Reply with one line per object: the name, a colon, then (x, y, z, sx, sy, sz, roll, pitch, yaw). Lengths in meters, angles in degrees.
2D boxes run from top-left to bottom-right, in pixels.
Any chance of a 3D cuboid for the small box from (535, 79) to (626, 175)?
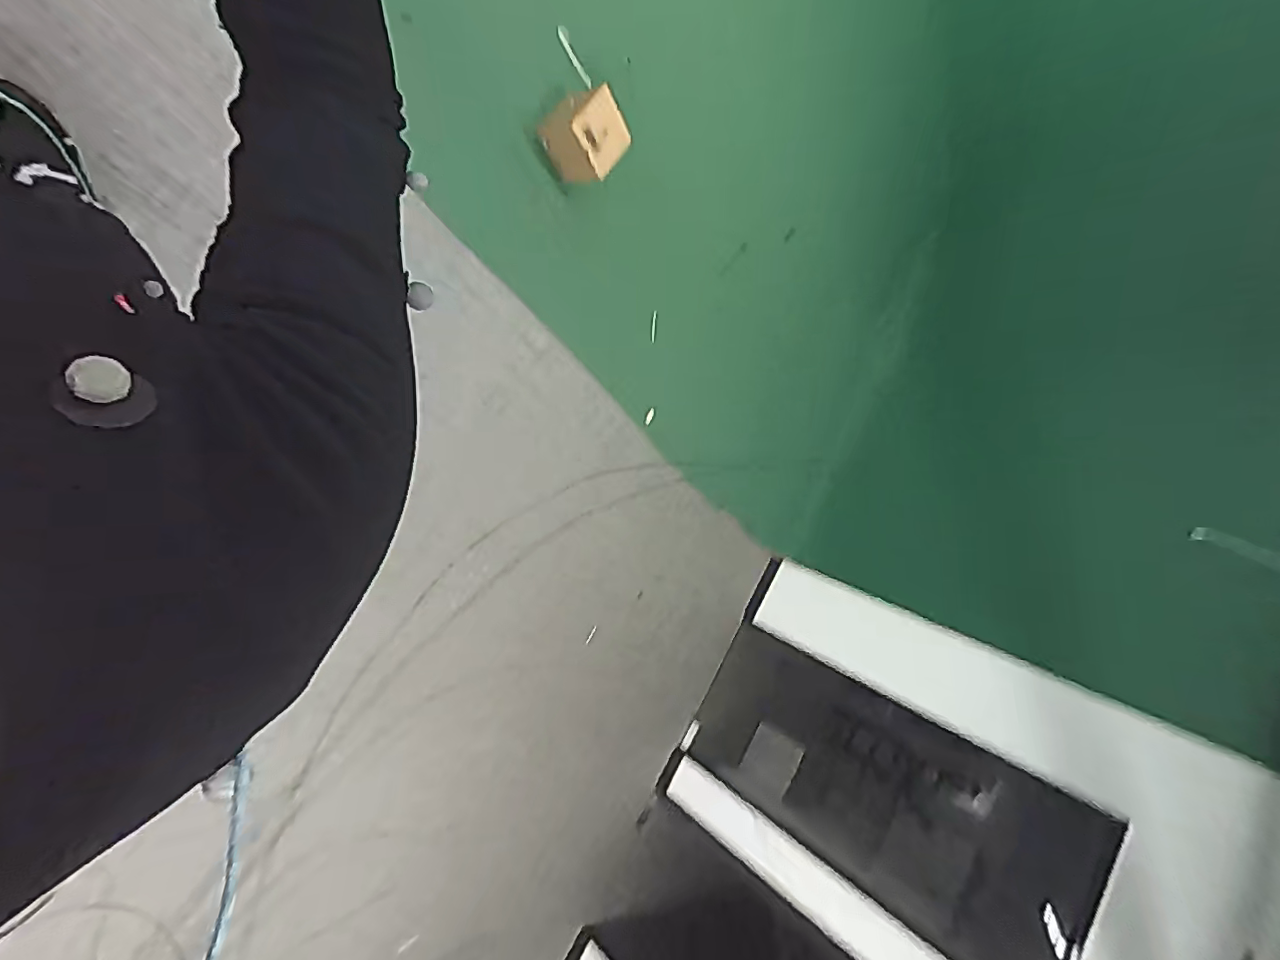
small box: (-0.181, -1.026, 1.588, 0.179, 0.176, 0.168, -58, 141, -9)
